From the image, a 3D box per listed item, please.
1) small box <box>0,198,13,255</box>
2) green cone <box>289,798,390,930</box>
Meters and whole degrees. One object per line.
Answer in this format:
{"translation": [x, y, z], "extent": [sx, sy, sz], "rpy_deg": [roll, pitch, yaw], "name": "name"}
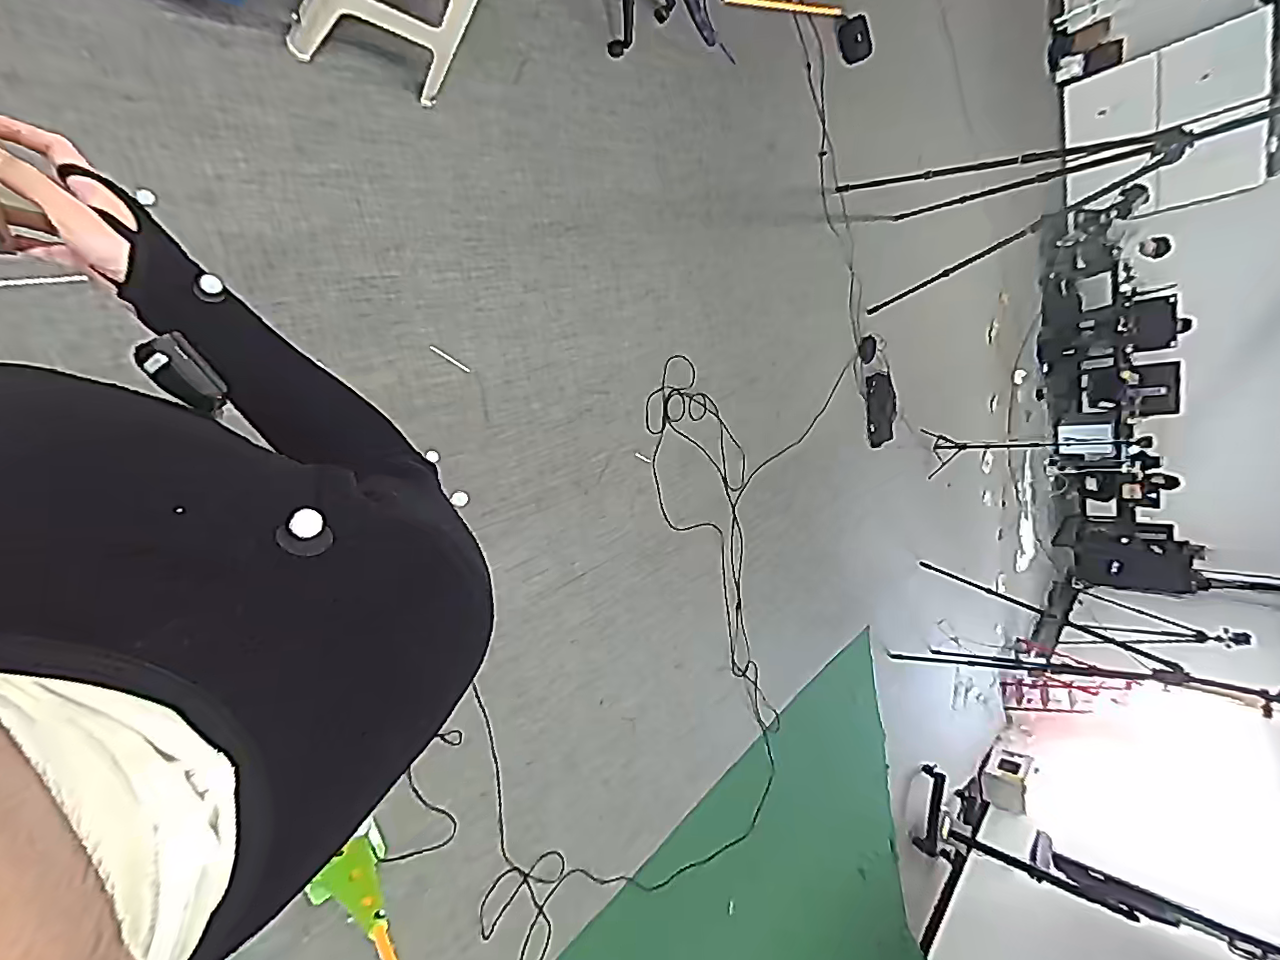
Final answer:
{"translation": [-0.550, -0.254, 0.337], "extent": [0.168, 0.176, 0.179], "rpy_deg": [-18, 105, -40], "name": "small box"}
{"translation": [-0.738, 1.043, 1.404], "extent": [0.202, 0.368, 0.200], "rpy_deg": [-25, 109, -40], "name": "green cone"}
